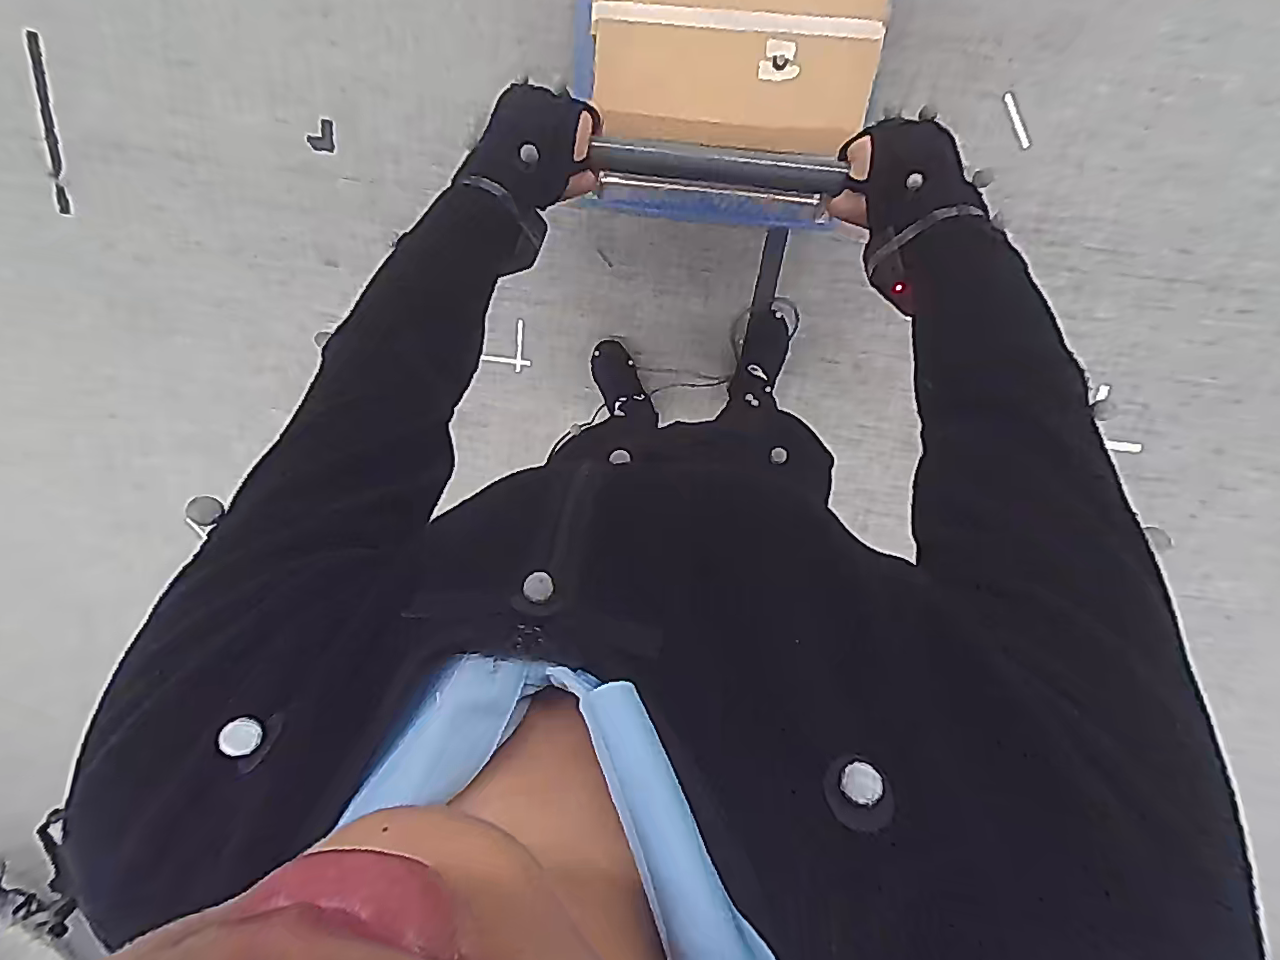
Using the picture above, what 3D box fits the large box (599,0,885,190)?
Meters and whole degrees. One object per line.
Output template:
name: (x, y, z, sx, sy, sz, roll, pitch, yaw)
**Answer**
large box: (0.154, -0.704, 0.922, 0.408, 0.320, 0.320, 7, 111, 2)
